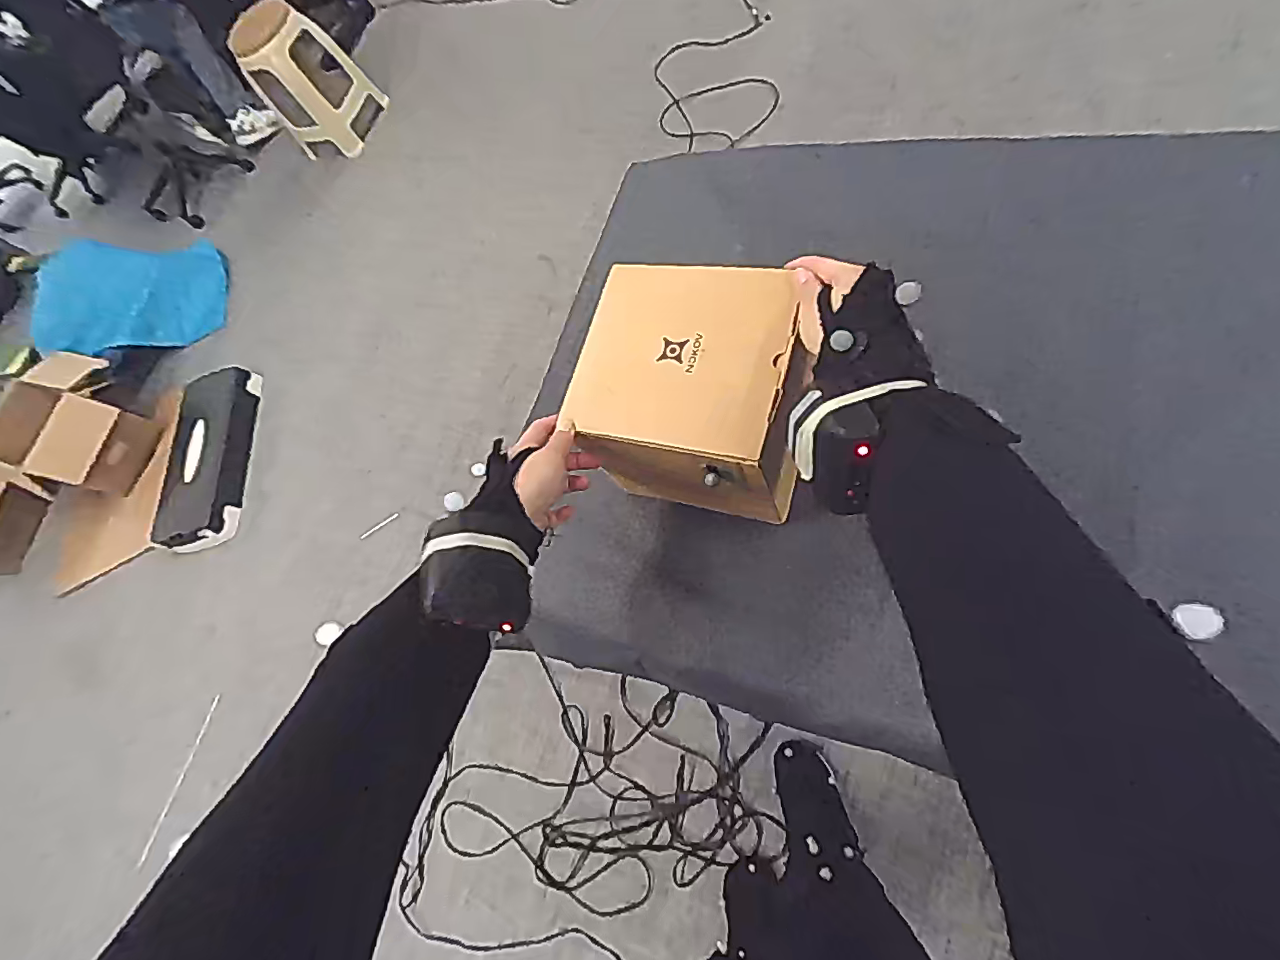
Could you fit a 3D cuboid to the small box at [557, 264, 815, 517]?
[{"bbox_3d":[0.056,-0.076,0.505,0.179,0.176,0.168,12,75,22],"label":"small box"}]
